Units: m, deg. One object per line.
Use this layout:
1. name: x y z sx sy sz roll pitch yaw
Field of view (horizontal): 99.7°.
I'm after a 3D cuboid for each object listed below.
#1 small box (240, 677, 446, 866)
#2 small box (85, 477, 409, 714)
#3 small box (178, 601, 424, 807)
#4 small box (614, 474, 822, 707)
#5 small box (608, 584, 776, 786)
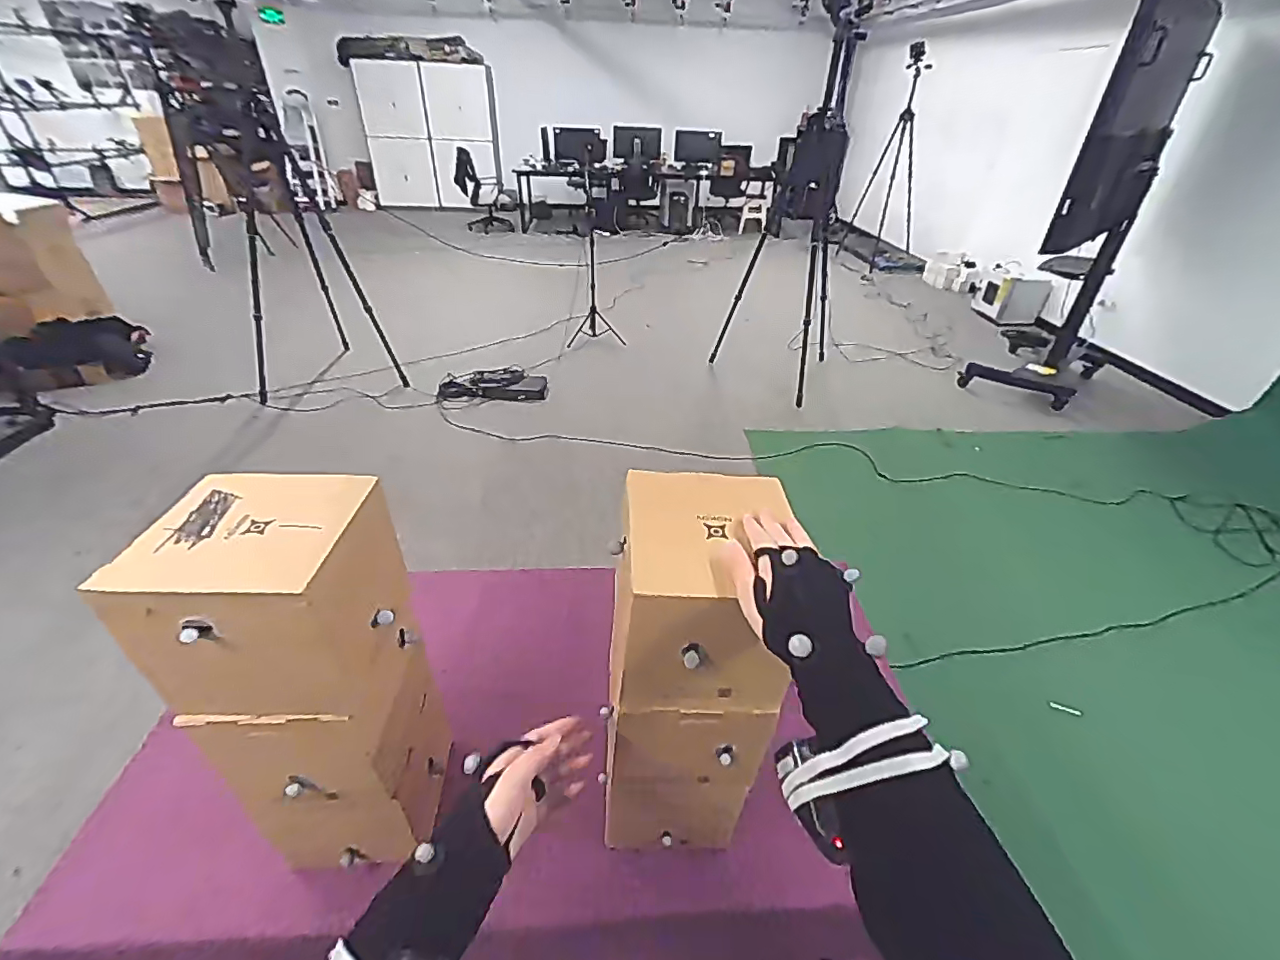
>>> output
1. small box: -0.371 0.385 0.720 0.179 0.176 0.168 -1 35 -5
2. small box: -0.355 0.112 0.535 0.179 0.176 0.168 1 35 -3
3. small box: -0.365 0.247 0.629 0.168 0.176 0.179 -1 35 -3
4. small box: 0.063 0.113 0.558 0.168 0.176 0.179 3 36 -6
5. small box: 0.049 0.245 0.651 0.168 0.176 0.179 2 35 -6
